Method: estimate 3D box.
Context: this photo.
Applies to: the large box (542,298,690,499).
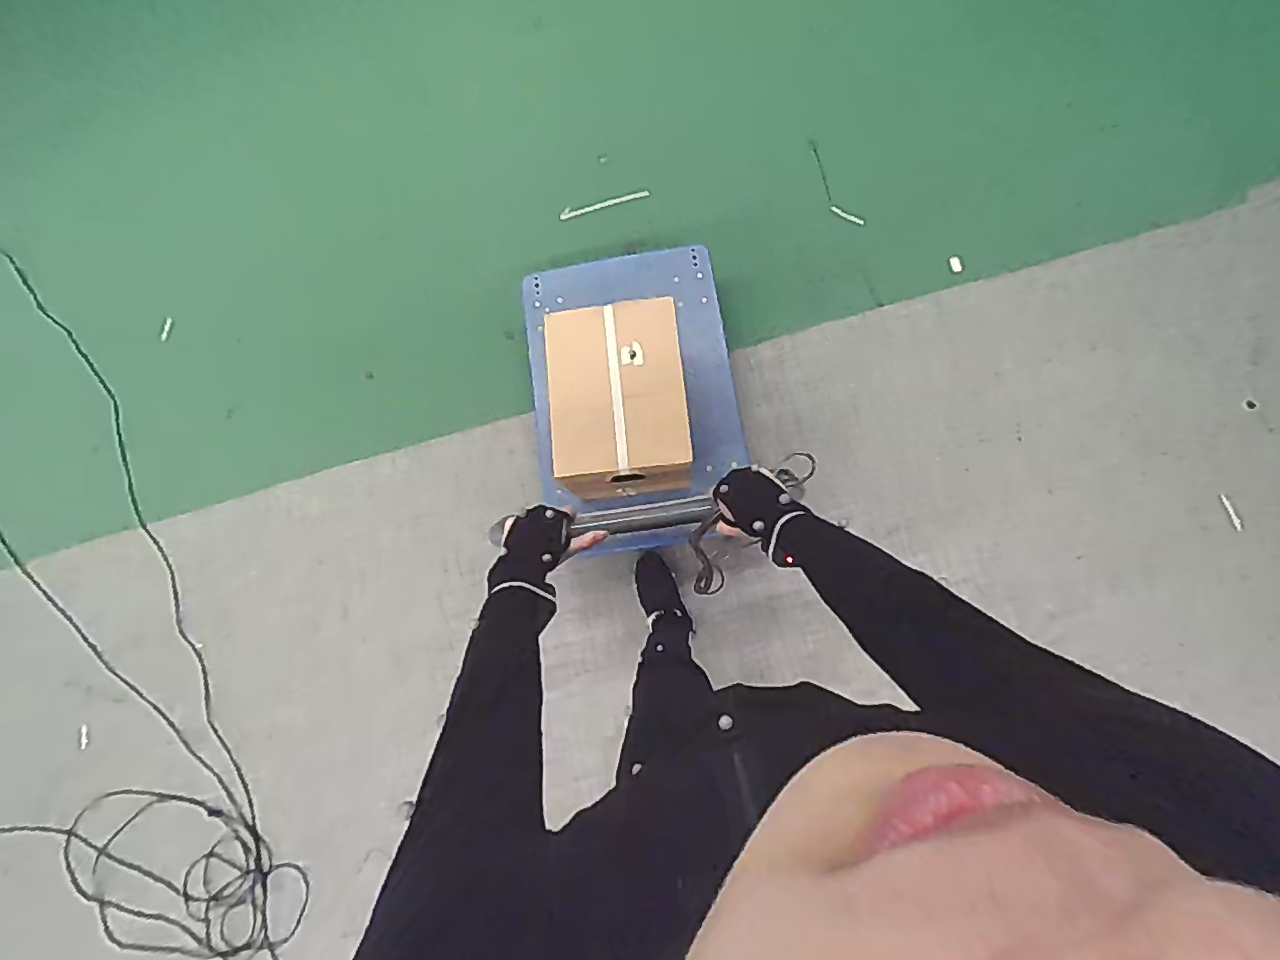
[{"bbox_3d":[-0.049,-0.188,1.381,0.320,0.320,0.408,-6,77,3],"label":"large box"}]
